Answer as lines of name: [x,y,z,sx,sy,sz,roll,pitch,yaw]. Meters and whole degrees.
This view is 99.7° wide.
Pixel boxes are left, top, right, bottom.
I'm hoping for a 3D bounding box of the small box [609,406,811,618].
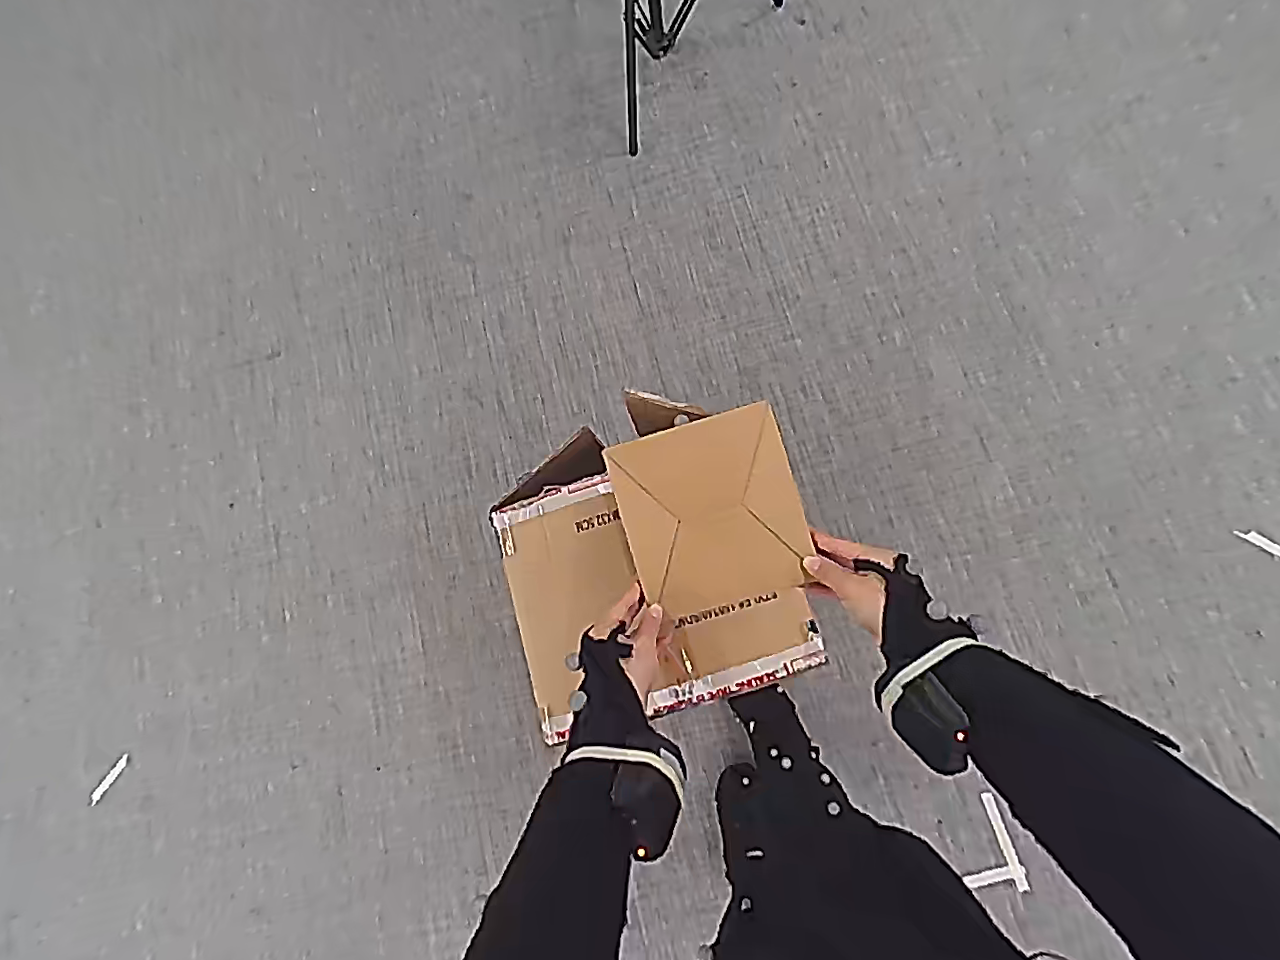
small box: [0.072,0.034,0.587,0.168,0.176,0.179,-17,88,4]
